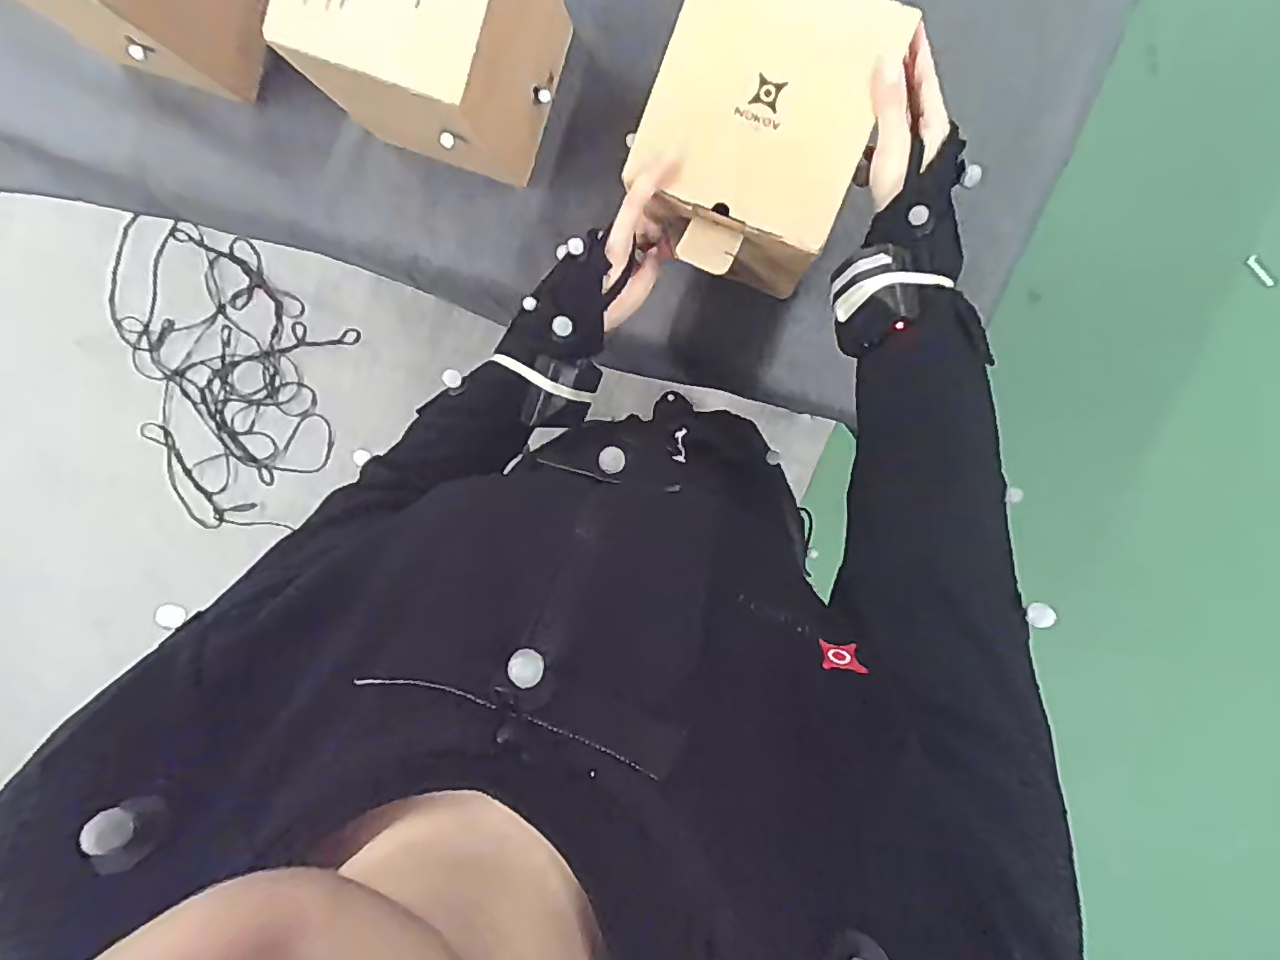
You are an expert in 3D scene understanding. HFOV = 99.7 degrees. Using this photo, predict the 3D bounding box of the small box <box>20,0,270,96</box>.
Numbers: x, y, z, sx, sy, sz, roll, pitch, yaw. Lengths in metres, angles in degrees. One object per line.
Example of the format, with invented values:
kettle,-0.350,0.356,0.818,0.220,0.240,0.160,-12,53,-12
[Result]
small box,-0.490,-0.509,0.513,0.179,0.176,0.168,20,98,4
